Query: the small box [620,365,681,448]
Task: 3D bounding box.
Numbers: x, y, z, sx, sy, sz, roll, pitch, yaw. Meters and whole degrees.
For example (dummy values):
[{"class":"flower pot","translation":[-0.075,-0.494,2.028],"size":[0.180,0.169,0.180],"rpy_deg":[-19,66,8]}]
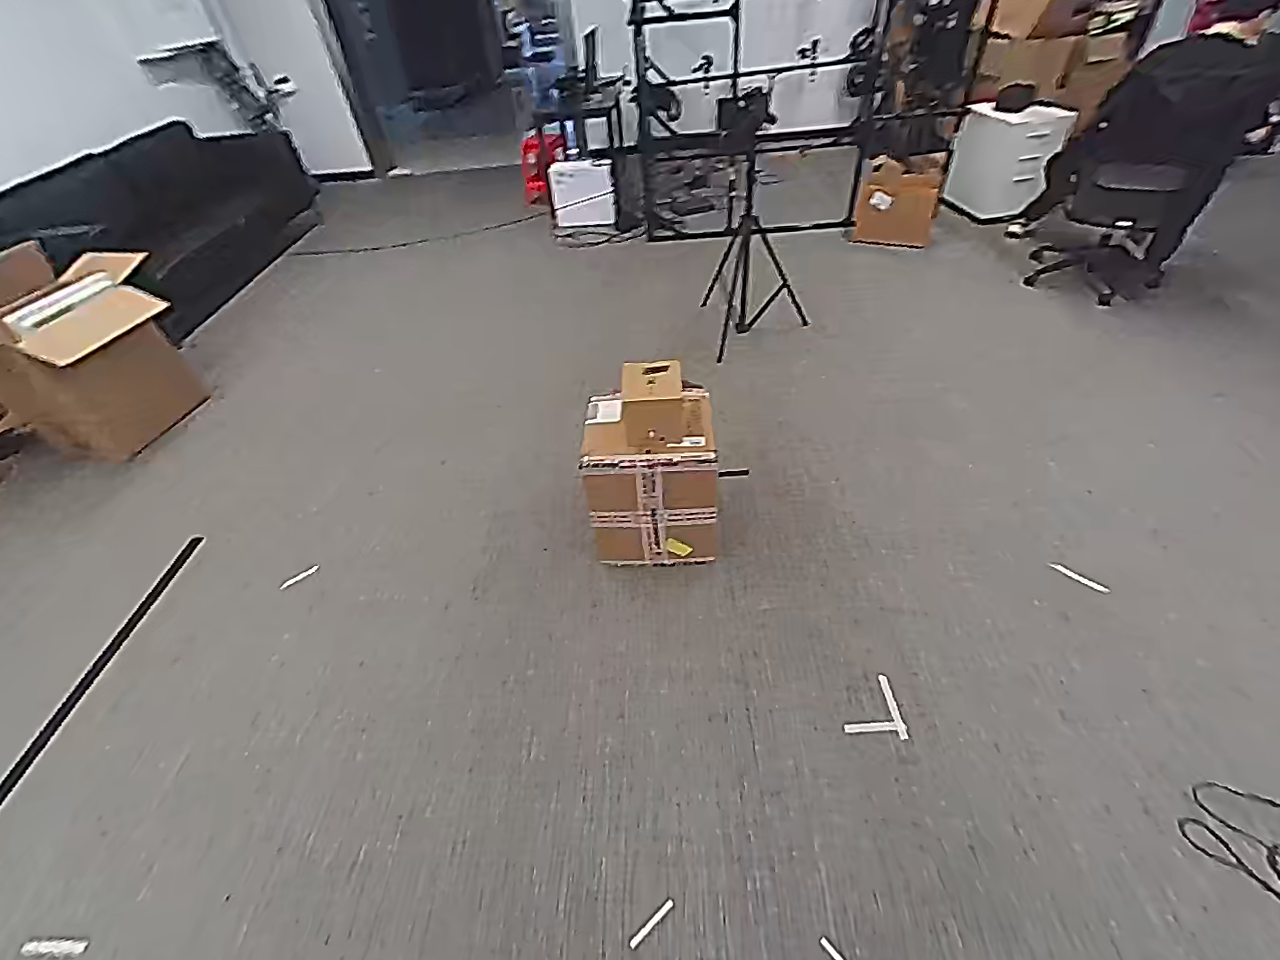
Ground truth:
[{"class":"small box","translation":[0.033,-0.213,1.570],"size":[0.168,0.176,0.179],"rpy_deg":[-3,48,4]}]
